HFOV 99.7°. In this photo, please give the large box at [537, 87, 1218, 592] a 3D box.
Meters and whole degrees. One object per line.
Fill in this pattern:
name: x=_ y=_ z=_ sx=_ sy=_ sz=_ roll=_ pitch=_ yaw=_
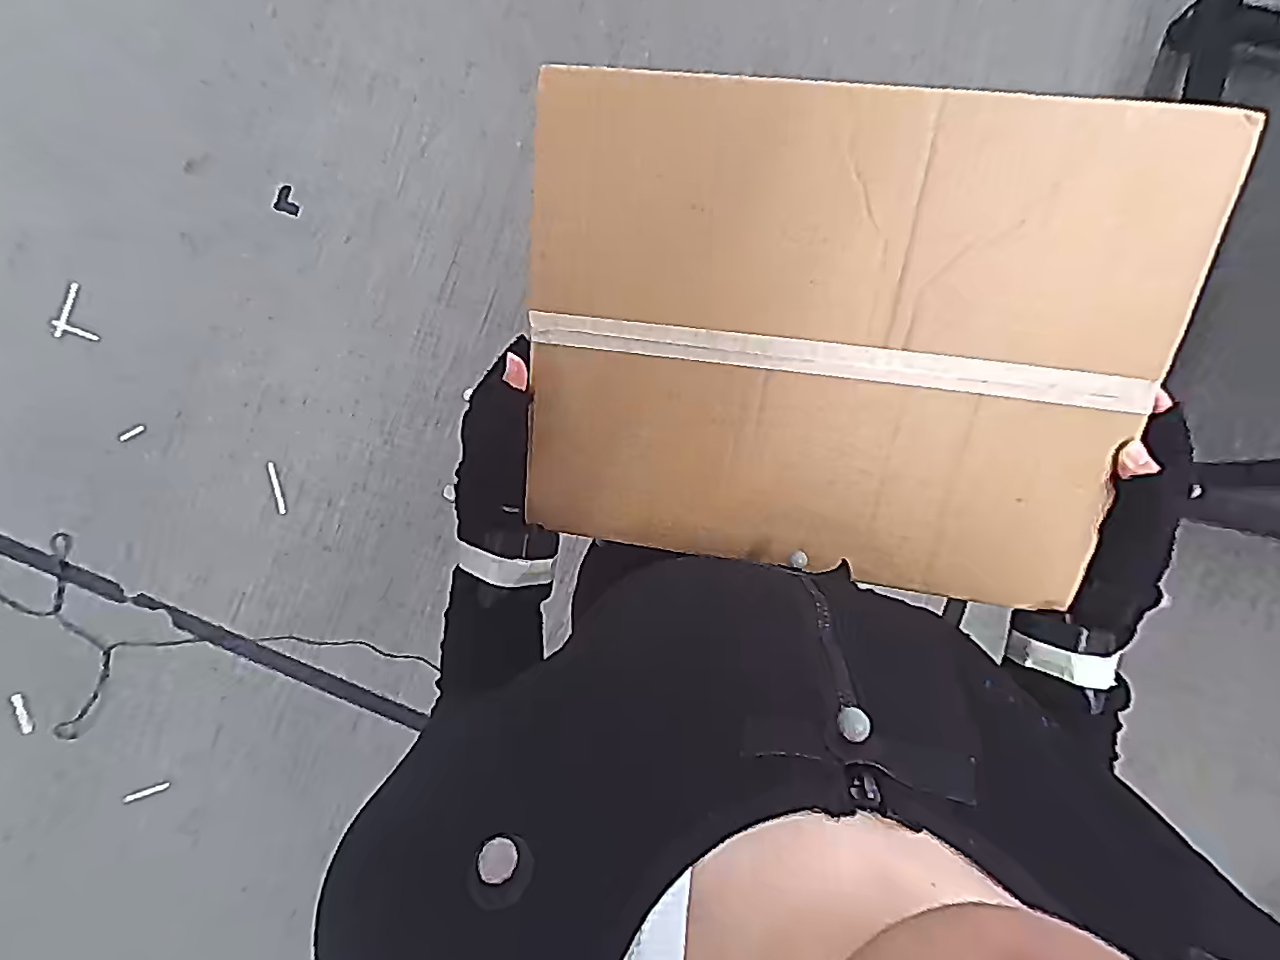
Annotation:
large box: x=0.143 y=-0.130 z=0.517 sx=0.408 sy=0.320 sz=0.320 roll=9 pitch=110 yaw=6
